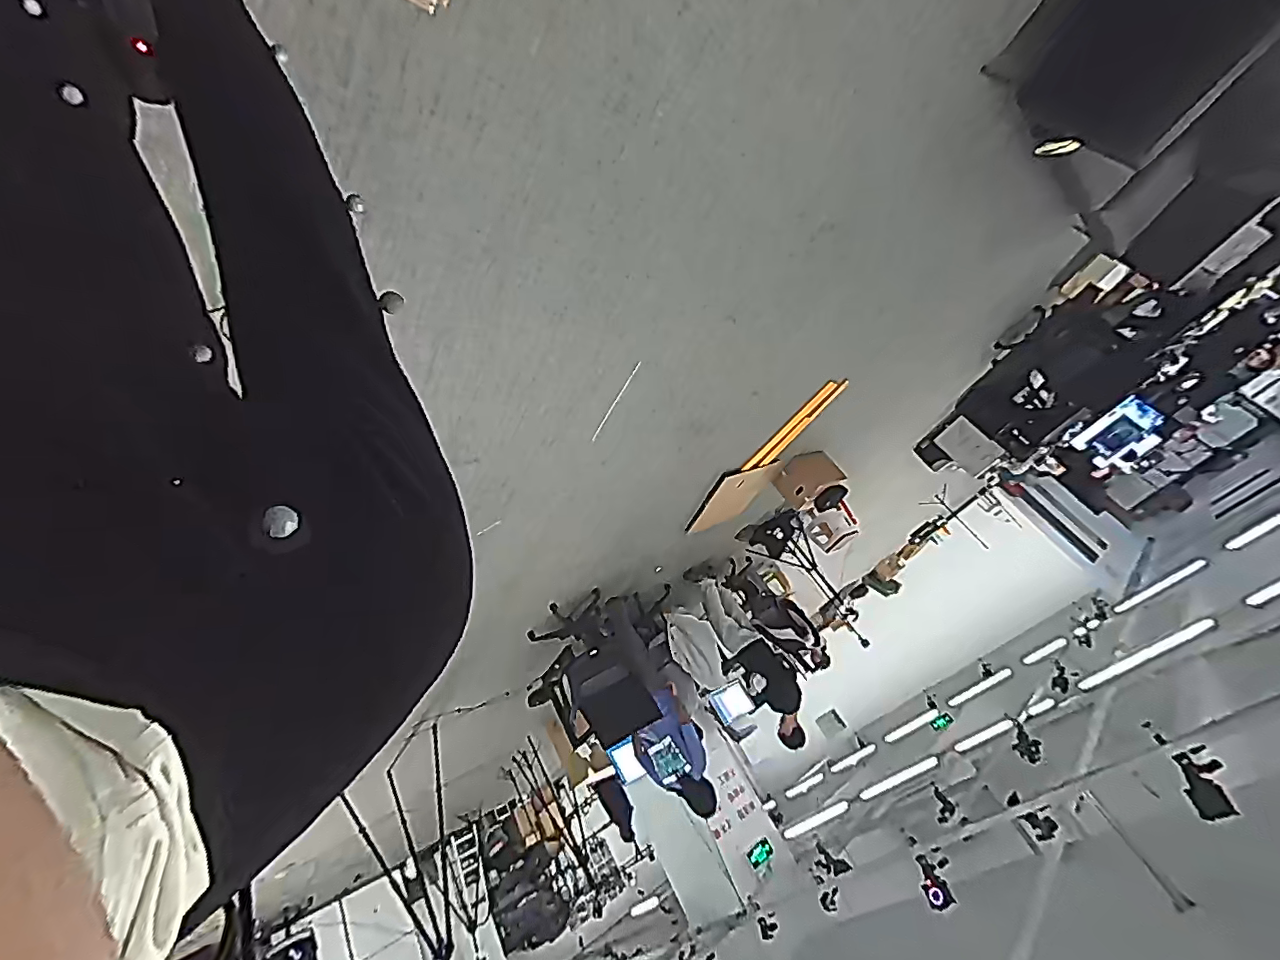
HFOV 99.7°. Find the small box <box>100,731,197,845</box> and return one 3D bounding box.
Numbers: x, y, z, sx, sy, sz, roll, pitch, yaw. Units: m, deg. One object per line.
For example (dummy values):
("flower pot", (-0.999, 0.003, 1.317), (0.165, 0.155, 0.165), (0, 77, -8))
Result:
("small box", (-1.217, 0.756, 1.341), (0.168, 0.176, 0.179), (-6, 143, -44))

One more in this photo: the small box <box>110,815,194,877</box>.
("small box", (-1.359, 0.946, 1.500), (0.168, 0.176, 0.179), (-5, 142, -44))
